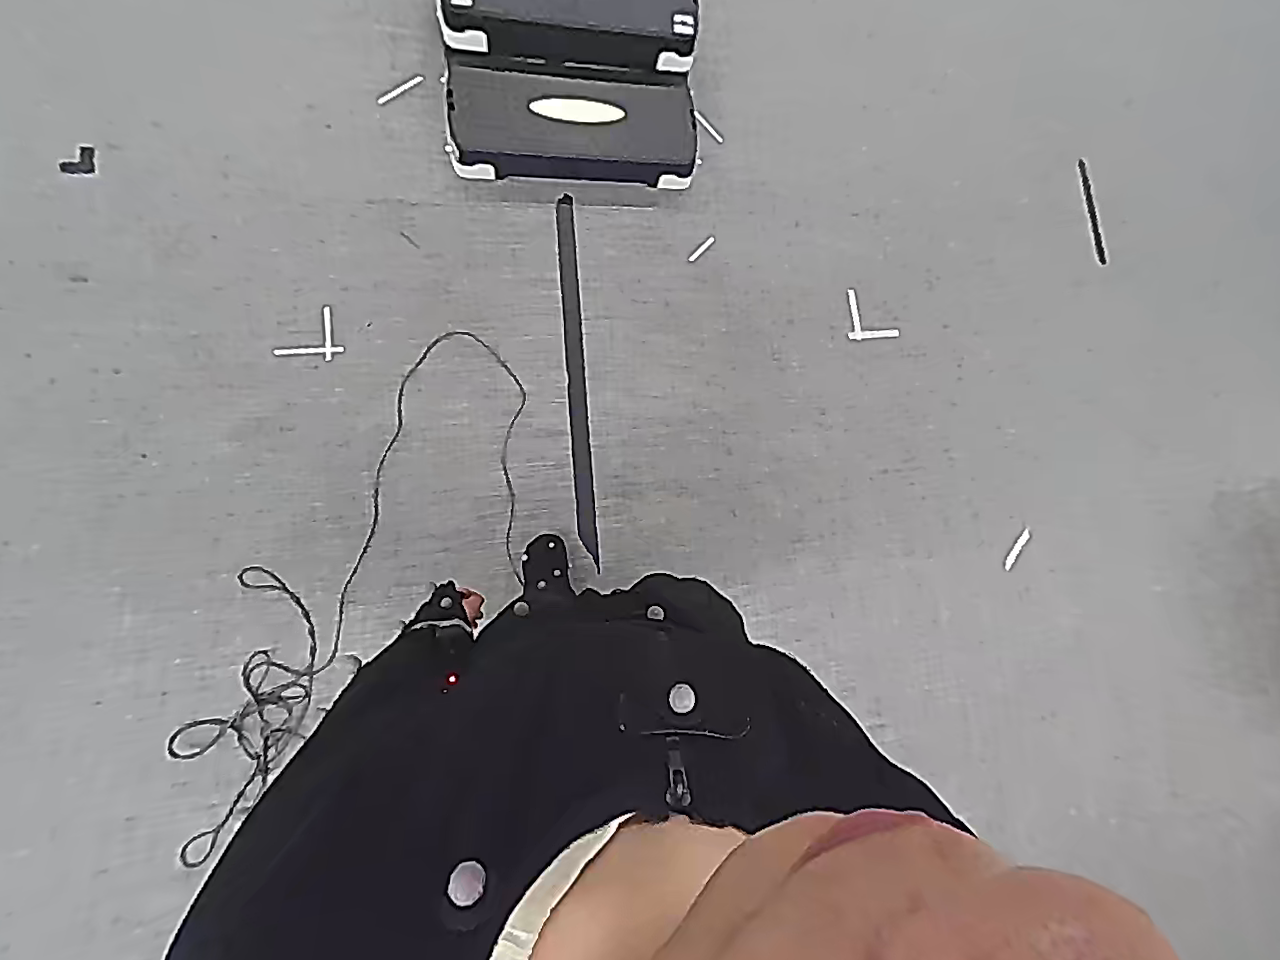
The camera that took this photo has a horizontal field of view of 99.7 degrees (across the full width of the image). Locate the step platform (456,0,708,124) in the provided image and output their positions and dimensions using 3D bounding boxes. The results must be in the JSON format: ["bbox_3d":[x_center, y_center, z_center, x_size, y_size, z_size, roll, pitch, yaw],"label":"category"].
[{"bbox_3d":[-0.152,-1.227,1.504,0.684,0.204,0.286,1,81,-12],"label":"step platform"}]
